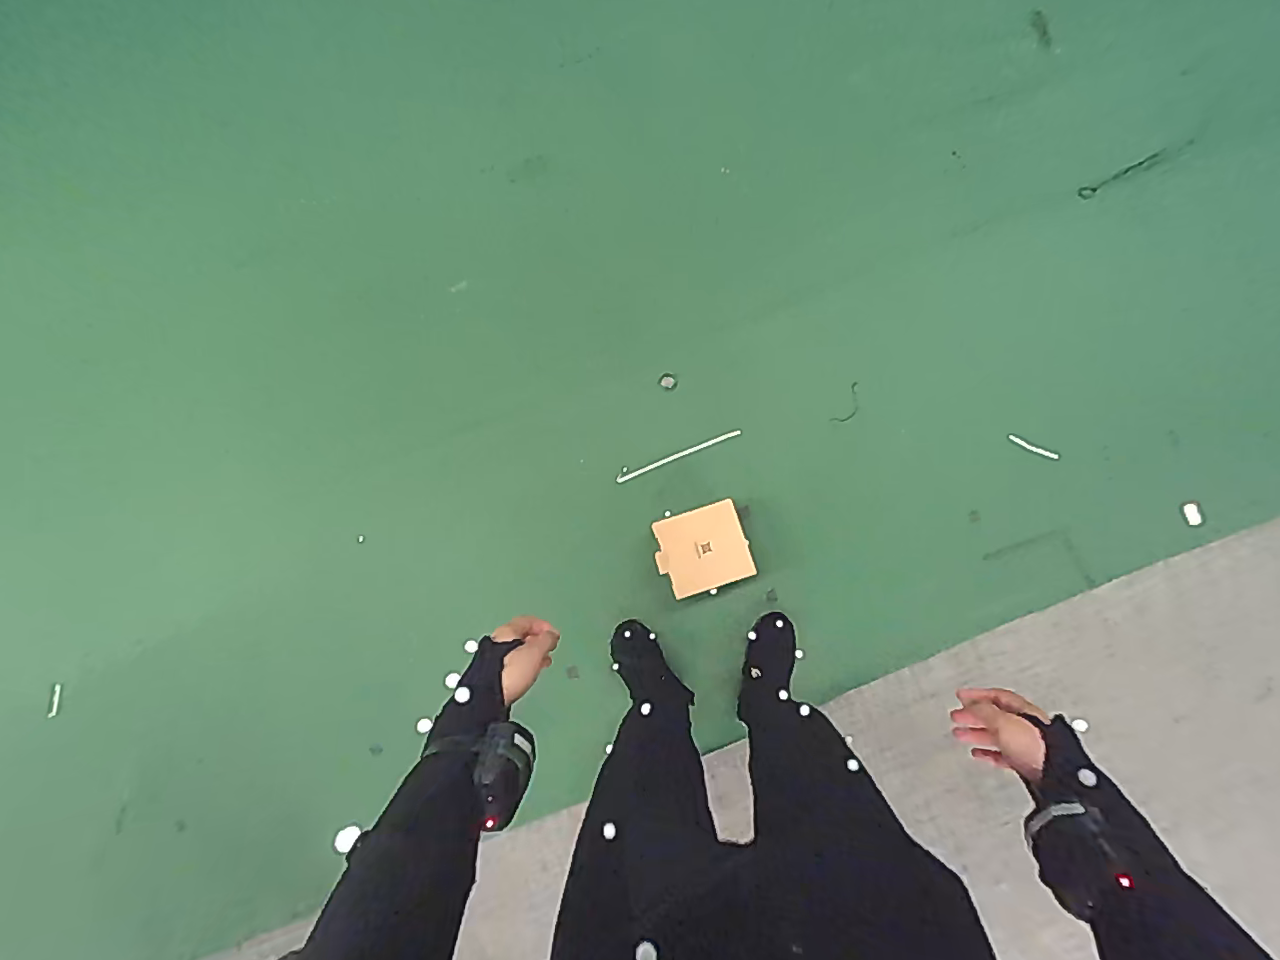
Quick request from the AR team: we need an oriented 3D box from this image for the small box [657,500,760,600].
[{"bbox_3d":[0.141,0.147,1.183,0.179,0.176,0.168,-19,85,1],"label":"small box"}]
